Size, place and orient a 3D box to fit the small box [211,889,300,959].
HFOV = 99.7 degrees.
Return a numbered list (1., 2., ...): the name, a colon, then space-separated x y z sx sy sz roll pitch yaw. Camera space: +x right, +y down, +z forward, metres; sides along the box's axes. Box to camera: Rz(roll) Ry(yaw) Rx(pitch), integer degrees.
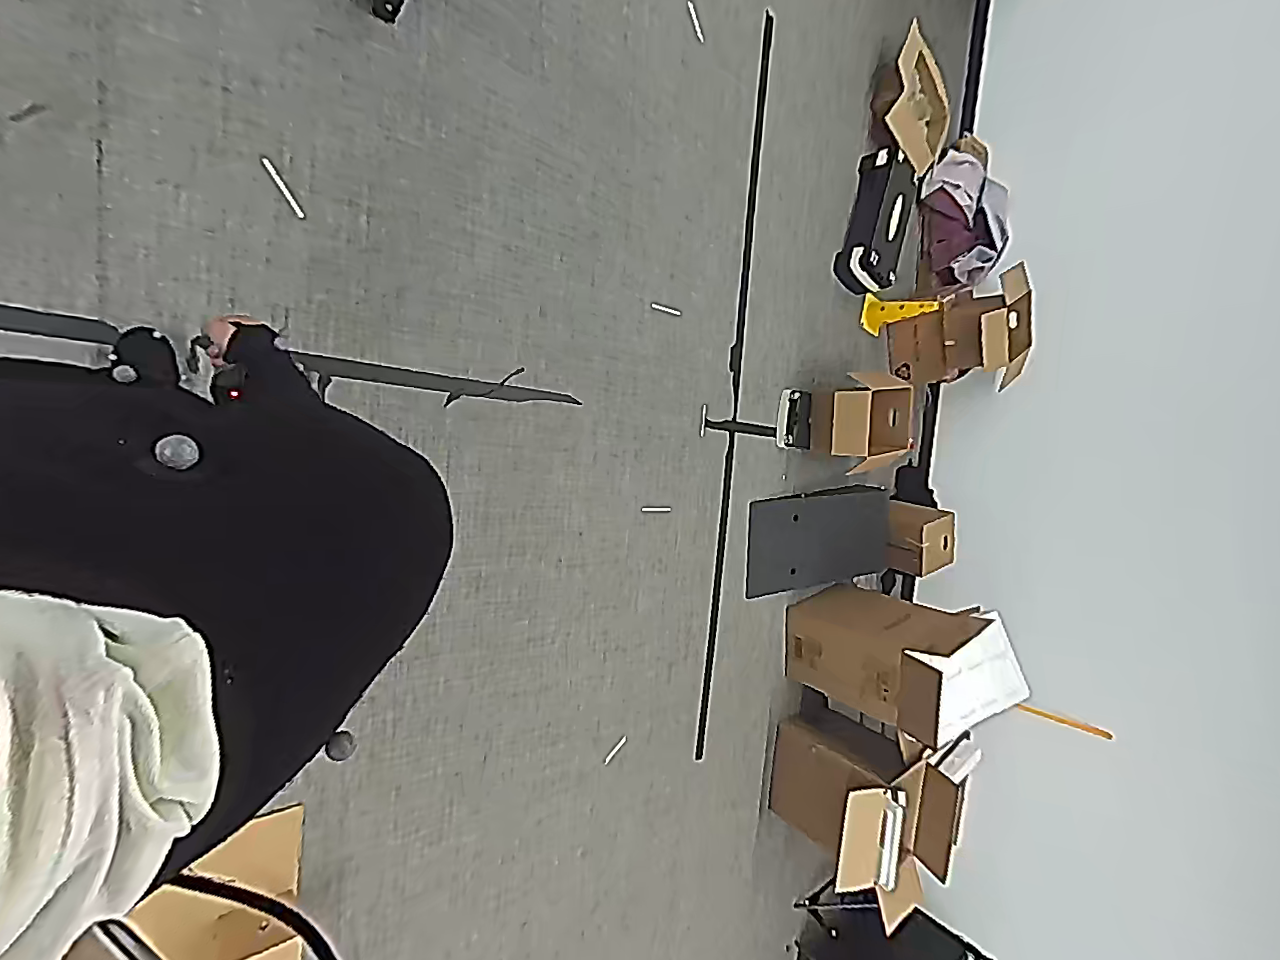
1. small box: -1.006 1.229 1.407 0.179 0.176 0.168 3 95 -41
